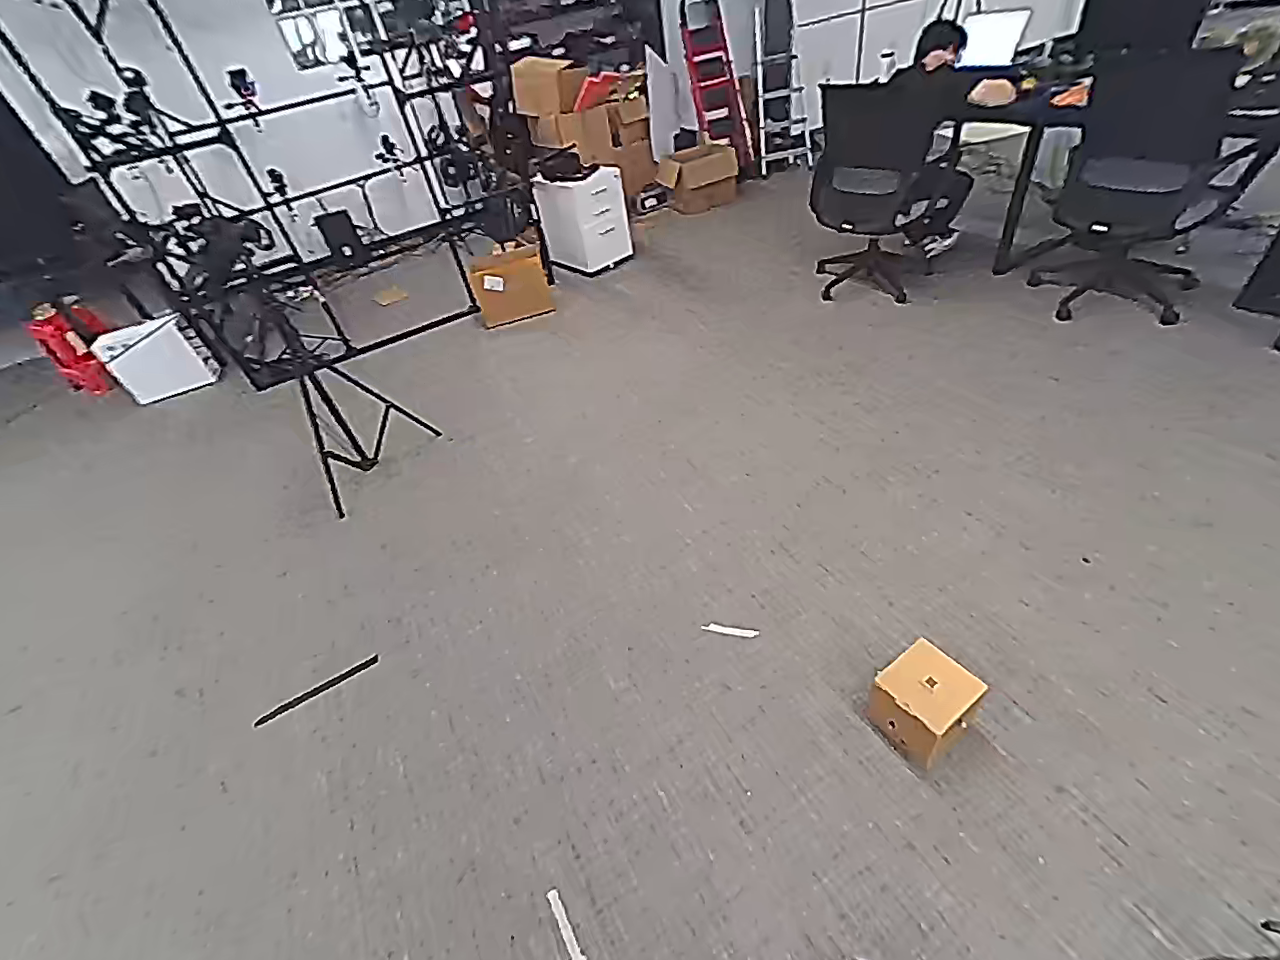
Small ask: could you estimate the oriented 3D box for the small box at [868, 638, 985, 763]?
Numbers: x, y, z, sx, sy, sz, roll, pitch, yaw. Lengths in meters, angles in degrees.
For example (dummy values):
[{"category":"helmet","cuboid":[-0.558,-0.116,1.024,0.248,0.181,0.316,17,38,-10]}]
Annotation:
[{"category":"small box","cuboid":[0.653,0.511,1.255,0.179,0.176,0.168,-31,44,-20]}]
